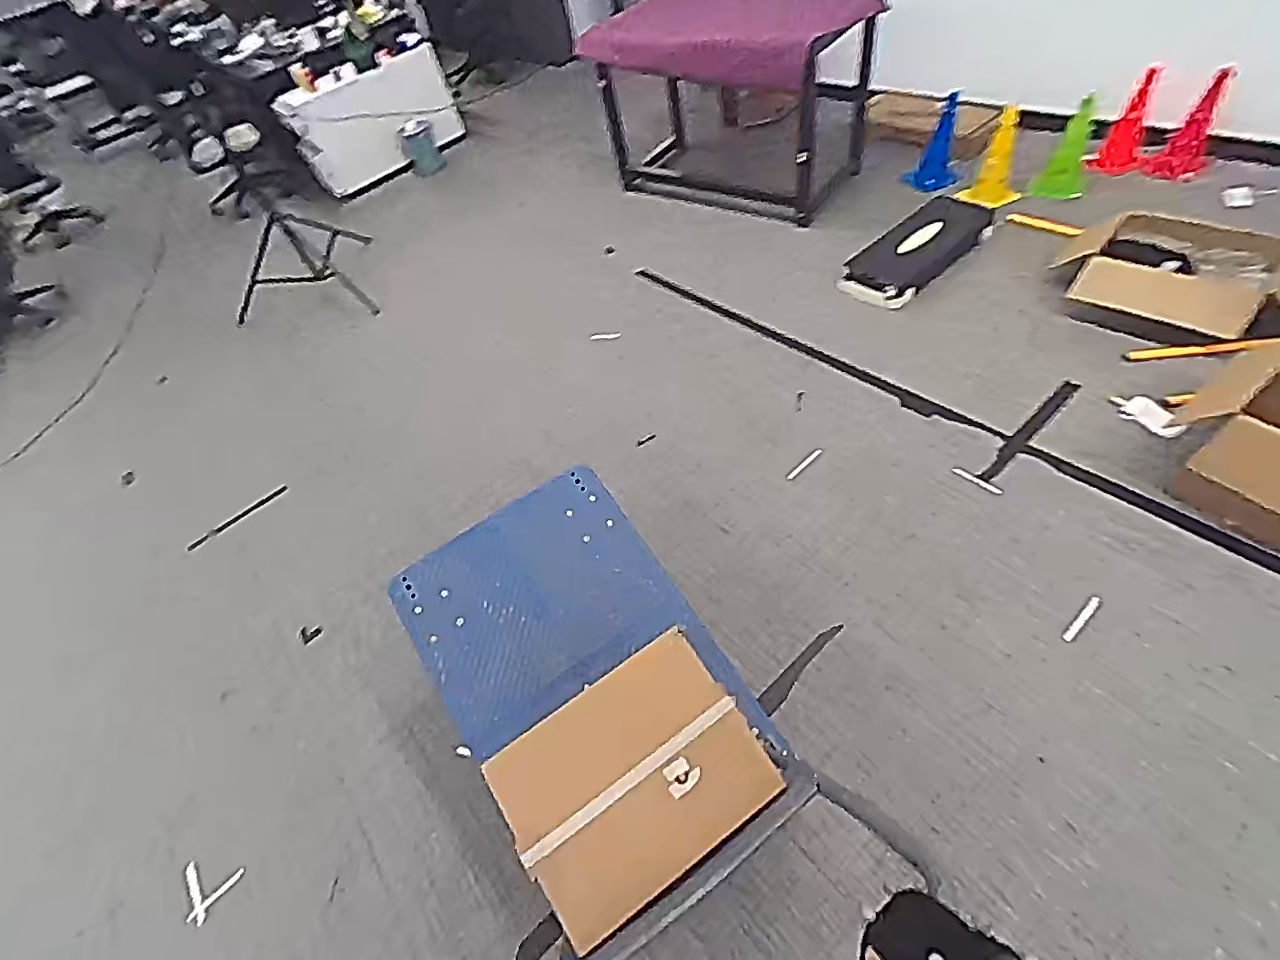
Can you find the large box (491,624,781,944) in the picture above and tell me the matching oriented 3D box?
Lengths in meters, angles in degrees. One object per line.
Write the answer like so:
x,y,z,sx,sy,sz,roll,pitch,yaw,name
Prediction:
-0.009,0.544,1.047,0.408,0.320,0.320,-33,73,-13,large box
